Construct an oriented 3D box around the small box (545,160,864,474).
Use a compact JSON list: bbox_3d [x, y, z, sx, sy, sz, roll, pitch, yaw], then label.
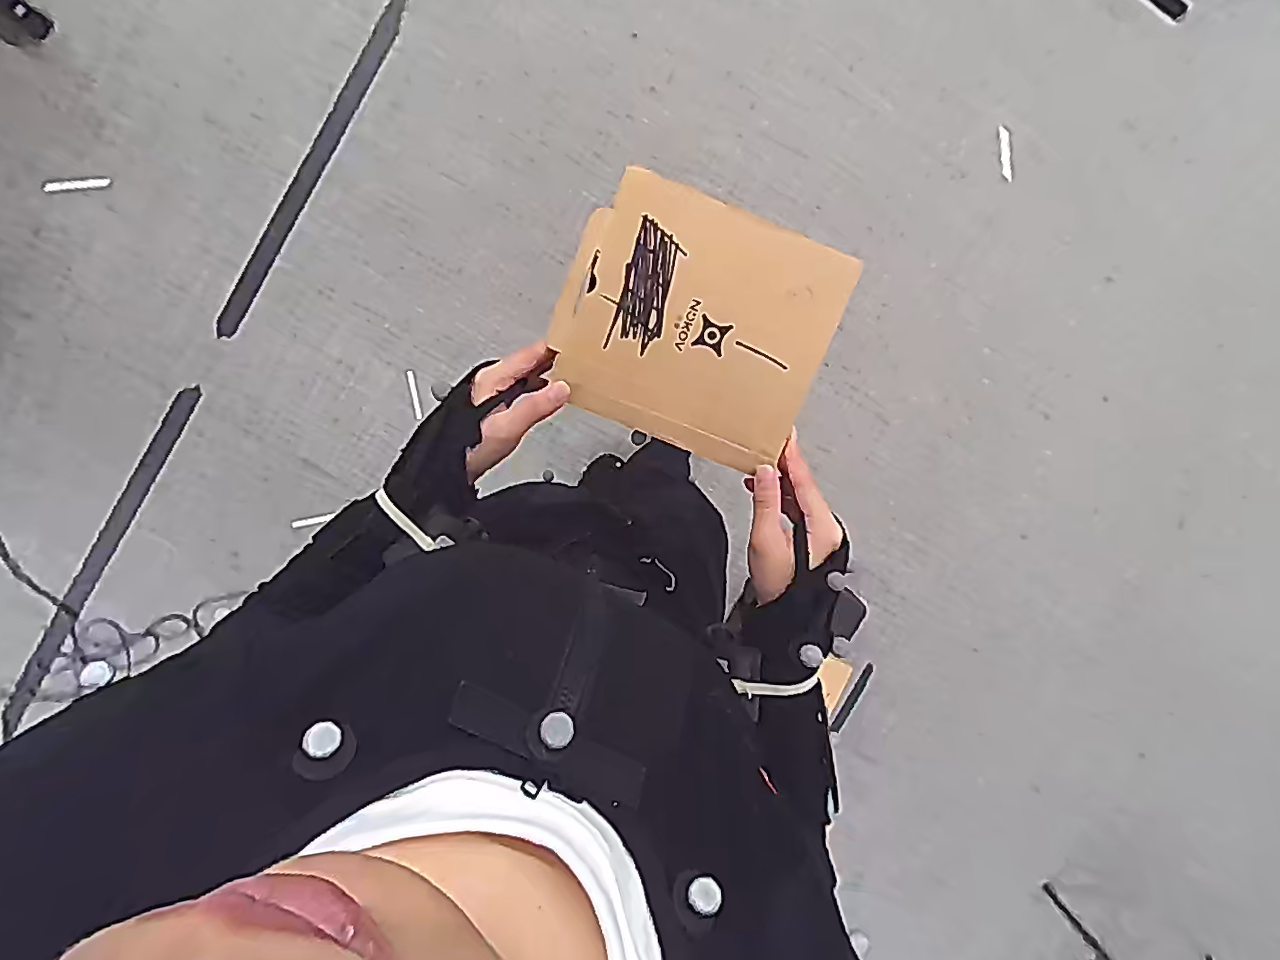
[{"bbox_3d":[0.043,-0.119,0.449,0.179,0.176,0.168,21,99,-3],"label":"small box"}]
